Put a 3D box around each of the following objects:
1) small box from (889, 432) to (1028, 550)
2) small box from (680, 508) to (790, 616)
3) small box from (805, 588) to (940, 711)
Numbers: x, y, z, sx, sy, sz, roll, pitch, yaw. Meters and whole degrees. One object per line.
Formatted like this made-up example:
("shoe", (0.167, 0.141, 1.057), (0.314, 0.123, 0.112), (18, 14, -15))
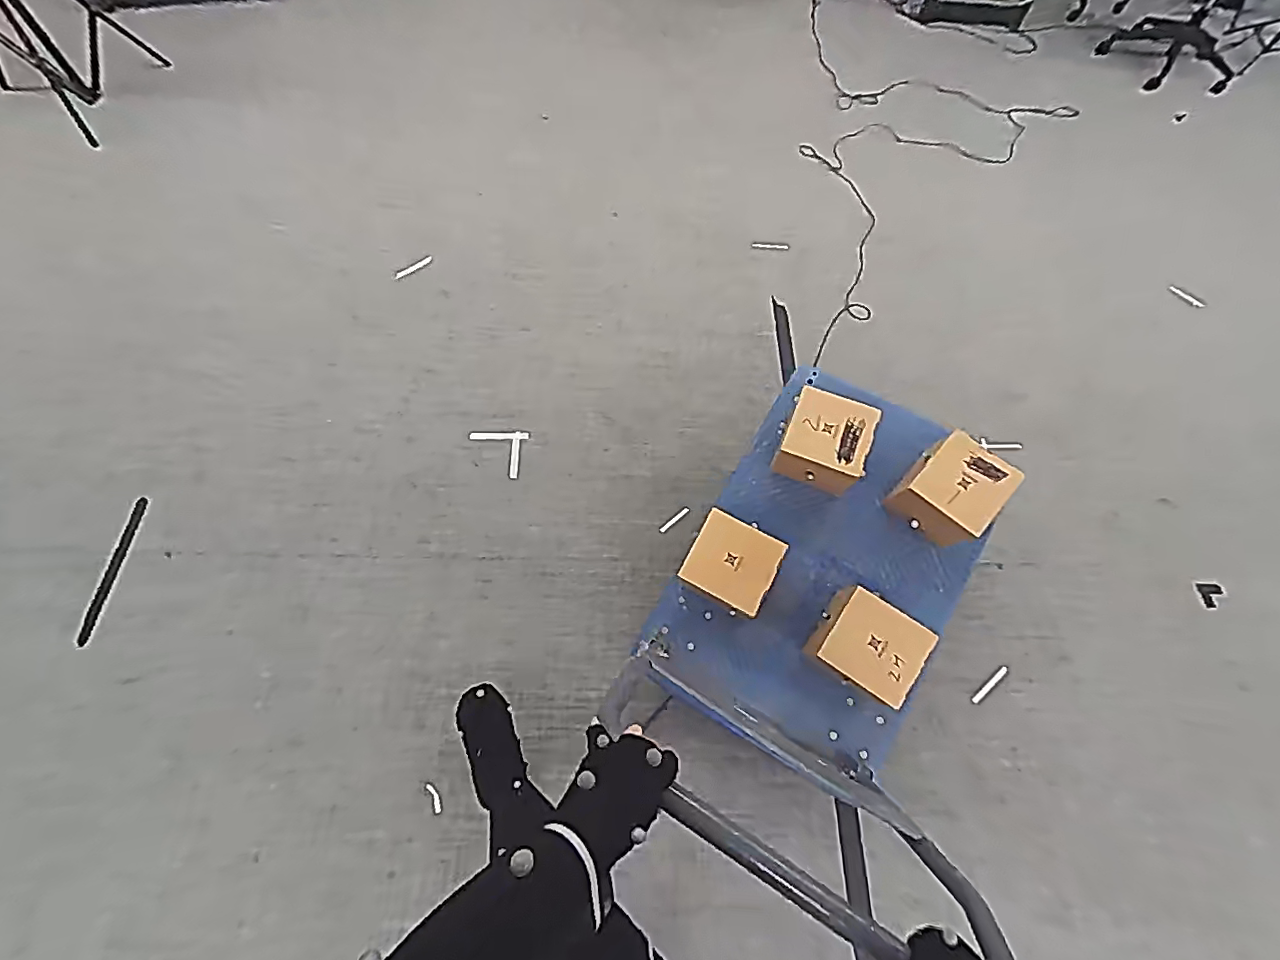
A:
("small box", (0.685, 0.031, 1.187), (0.168, 0.176, 0.179), (41, 82, 14))
("small box", (0.199, 0.188, 1.184), (0.179, 0.176, 0.168), (28, 78, 10))
("small box", (0.466, 0.346, 1.116), (0.179, 0.176, 0.168), (34, 80, 13))
